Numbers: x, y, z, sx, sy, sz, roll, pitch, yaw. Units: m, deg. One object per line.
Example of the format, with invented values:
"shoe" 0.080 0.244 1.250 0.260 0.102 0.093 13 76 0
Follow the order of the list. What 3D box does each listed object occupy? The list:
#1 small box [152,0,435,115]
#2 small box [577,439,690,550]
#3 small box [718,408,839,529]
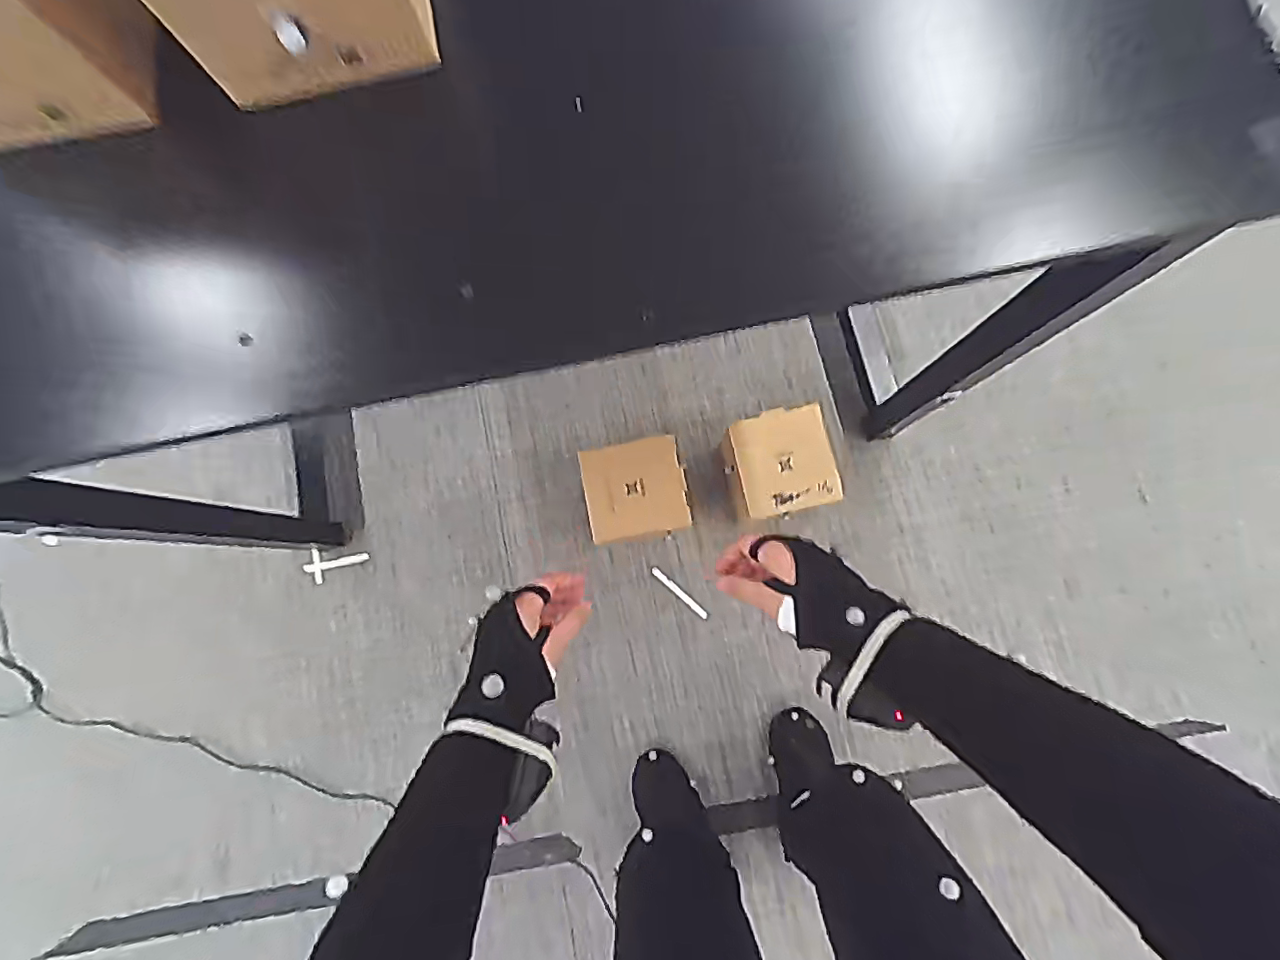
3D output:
"small box" -0.262 -0.404 0.372 0.168 0.176 0.179 -13 81 0
"small box" -0.009 0.035 1.024 0.179 0.176 0.168 -12 79 2
"small box" 0.249 -0.015 1.017 0.168 0.176 0.179 -13 79 1
